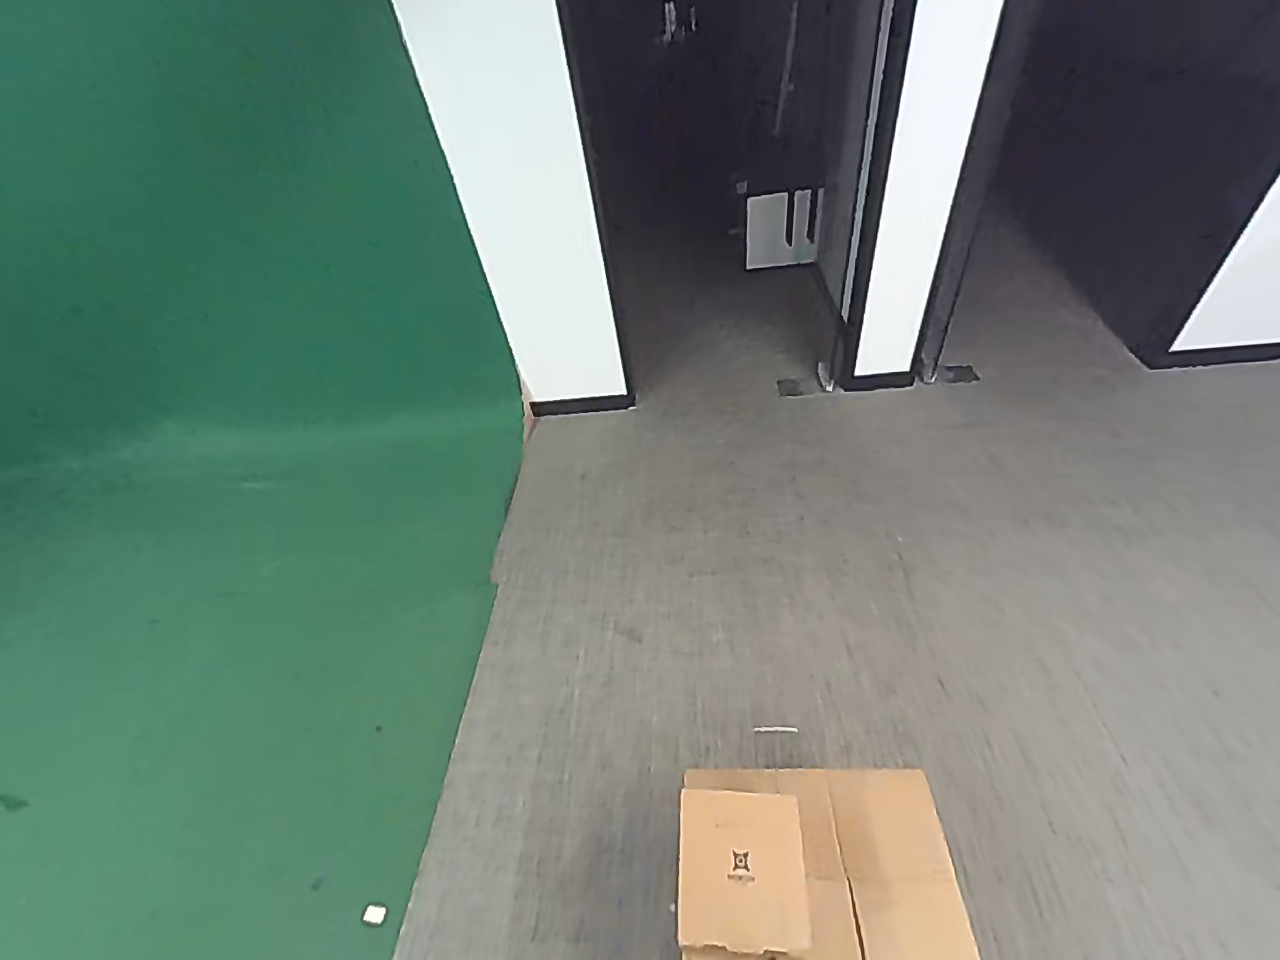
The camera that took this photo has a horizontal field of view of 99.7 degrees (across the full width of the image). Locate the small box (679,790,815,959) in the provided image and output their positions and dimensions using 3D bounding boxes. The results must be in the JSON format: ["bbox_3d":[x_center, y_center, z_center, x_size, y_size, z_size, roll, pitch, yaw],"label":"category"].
[{"bbox_3d":[0.145,0.562,0.764,0.168,0.176,0.179,-1,46,7],"label":"small box"}]
